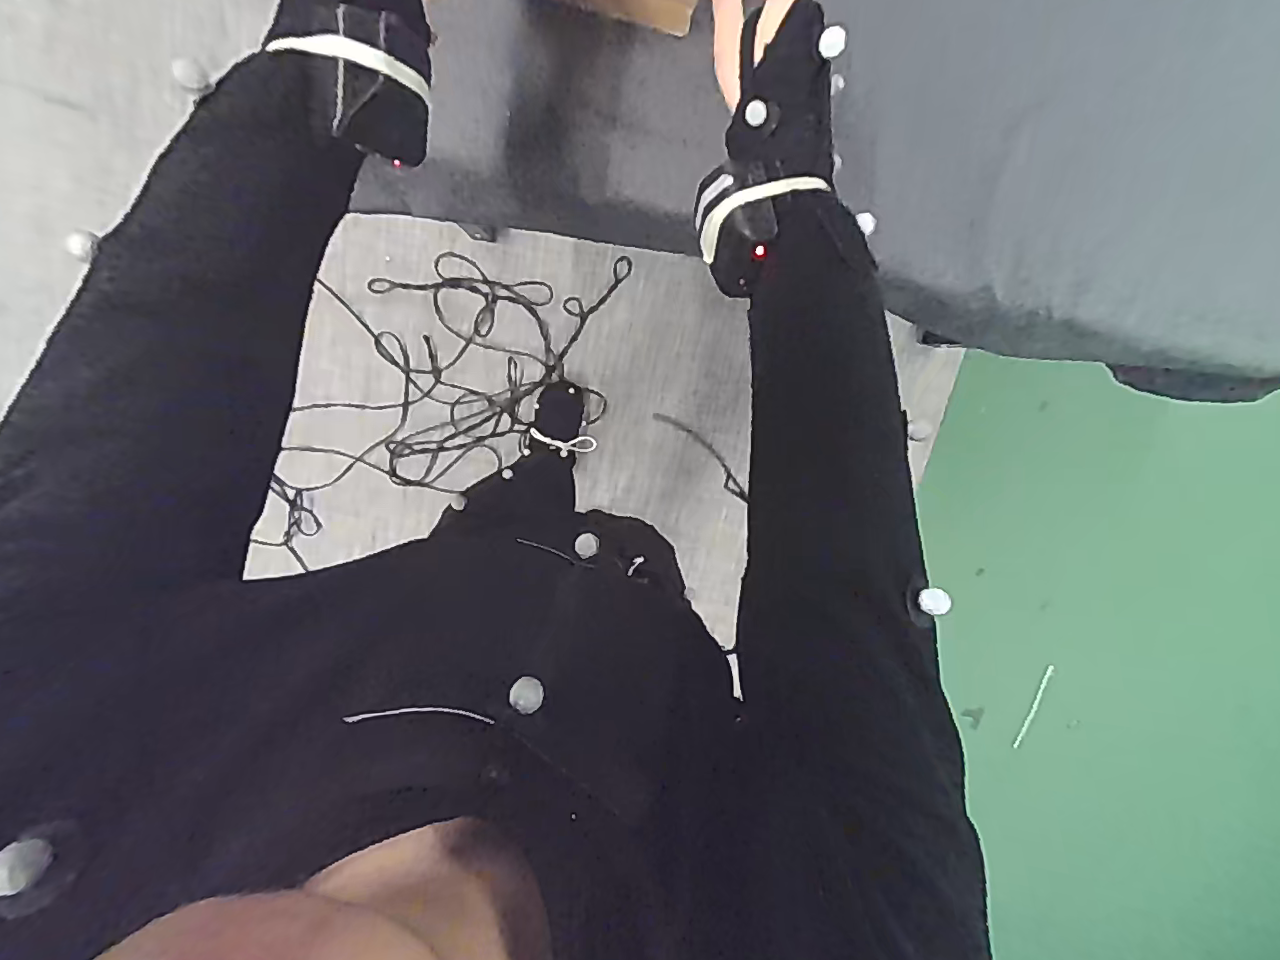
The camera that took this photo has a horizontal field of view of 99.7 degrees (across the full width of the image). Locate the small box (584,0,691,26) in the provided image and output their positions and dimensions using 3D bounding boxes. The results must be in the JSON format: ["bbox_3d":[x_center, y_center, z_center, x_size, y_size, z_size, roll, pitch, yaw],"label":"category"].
[{"bbox_3d":[-0.019,-0.488,0.400,0.179,0.176,0.168,7,104,-10],"label":"small box"}]
